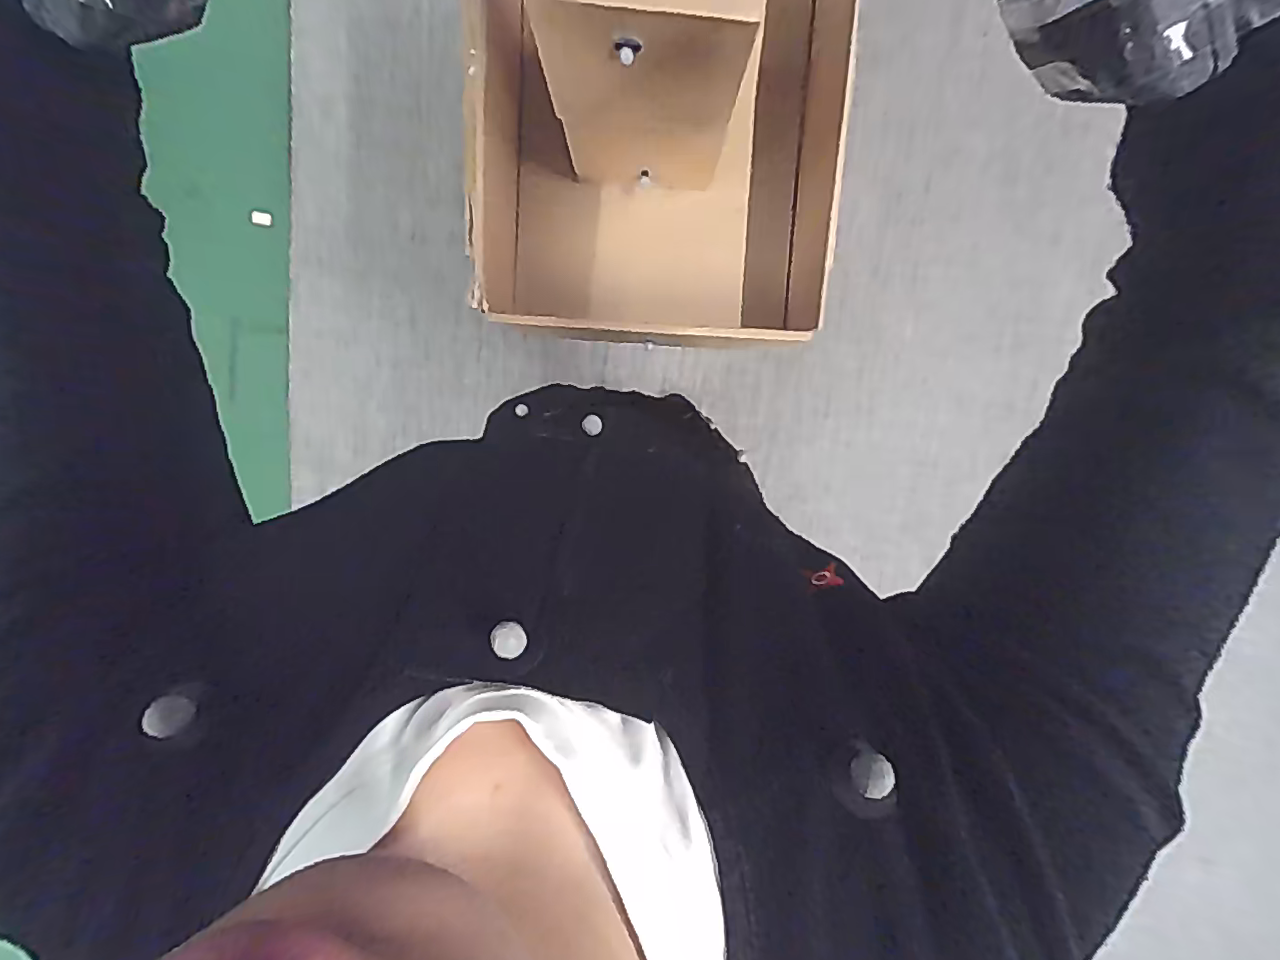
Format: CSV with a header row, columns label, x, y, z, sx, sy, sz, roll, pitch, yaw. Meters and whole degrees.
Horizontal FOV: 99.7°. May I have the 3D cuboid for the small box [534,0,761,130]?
label,x,y,z,sx,sy,sz,roll,pitch,yaw
small box,0.010,-0.430,0.460,0.179,0.176,0.168,6,97,-1

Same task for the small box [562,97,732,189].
label,x,y,z,sx,sy,sz,roll,pitch,yaw
small box,0.010,-0.456,0.622,0.179,0.176,0.168,3,96,-1
